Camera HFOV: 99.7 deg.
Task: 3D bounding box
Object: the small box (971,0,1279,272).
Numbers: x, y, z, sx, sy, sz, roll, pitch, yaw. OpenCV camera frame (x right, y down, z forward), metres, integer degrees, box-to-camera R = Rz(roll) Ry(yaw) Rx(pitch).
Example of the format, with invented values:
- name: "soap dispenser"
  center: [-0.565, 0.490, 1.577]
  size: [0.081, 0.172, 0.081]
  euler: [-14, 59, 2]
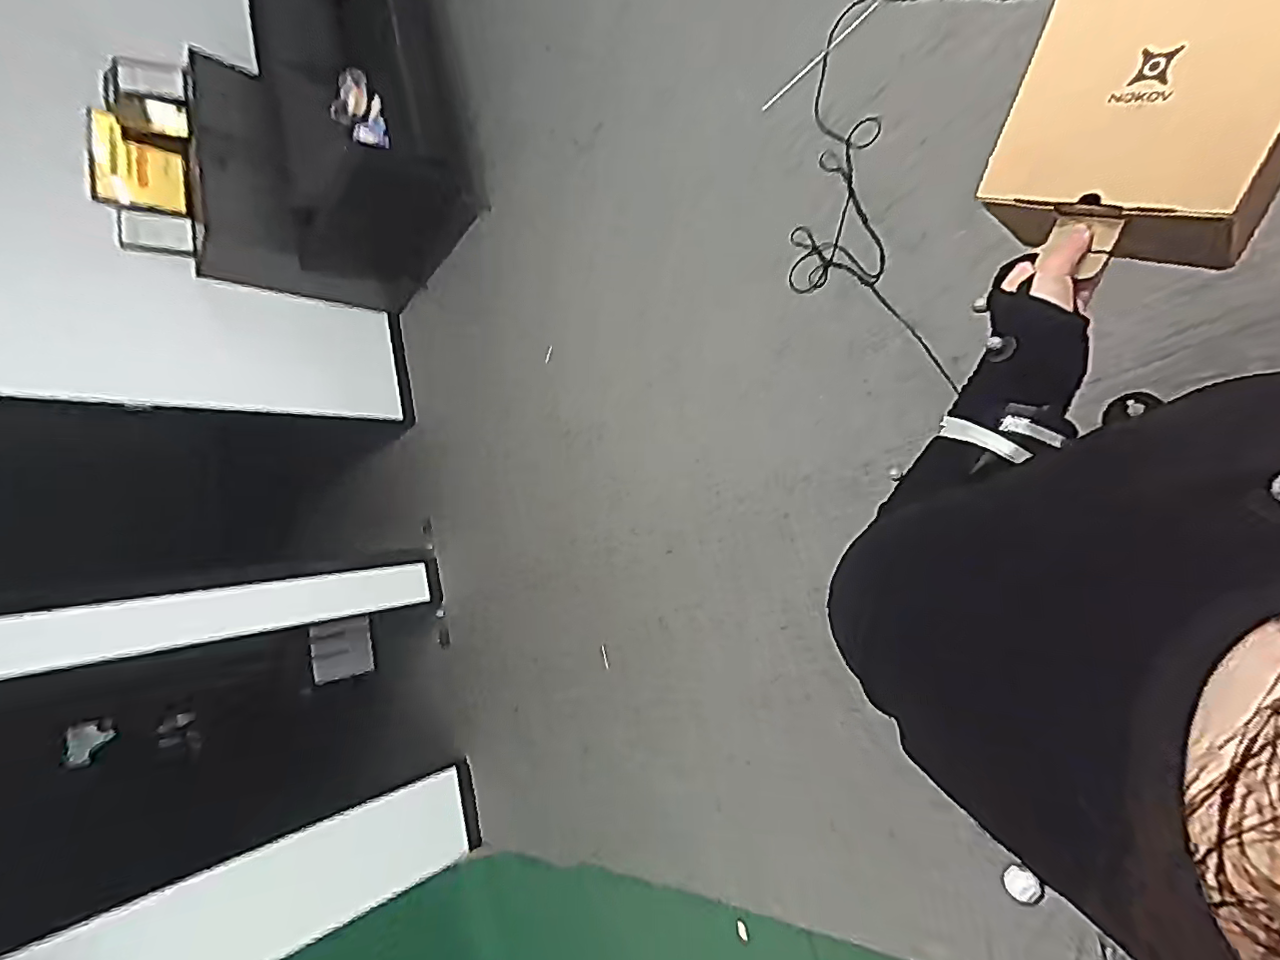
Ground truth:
- name: "small box"
  center: [0.420, -0.292, 0.452]
  size: [0.168, 0.176, 0.179]
  euler: [32, 116, 40]
